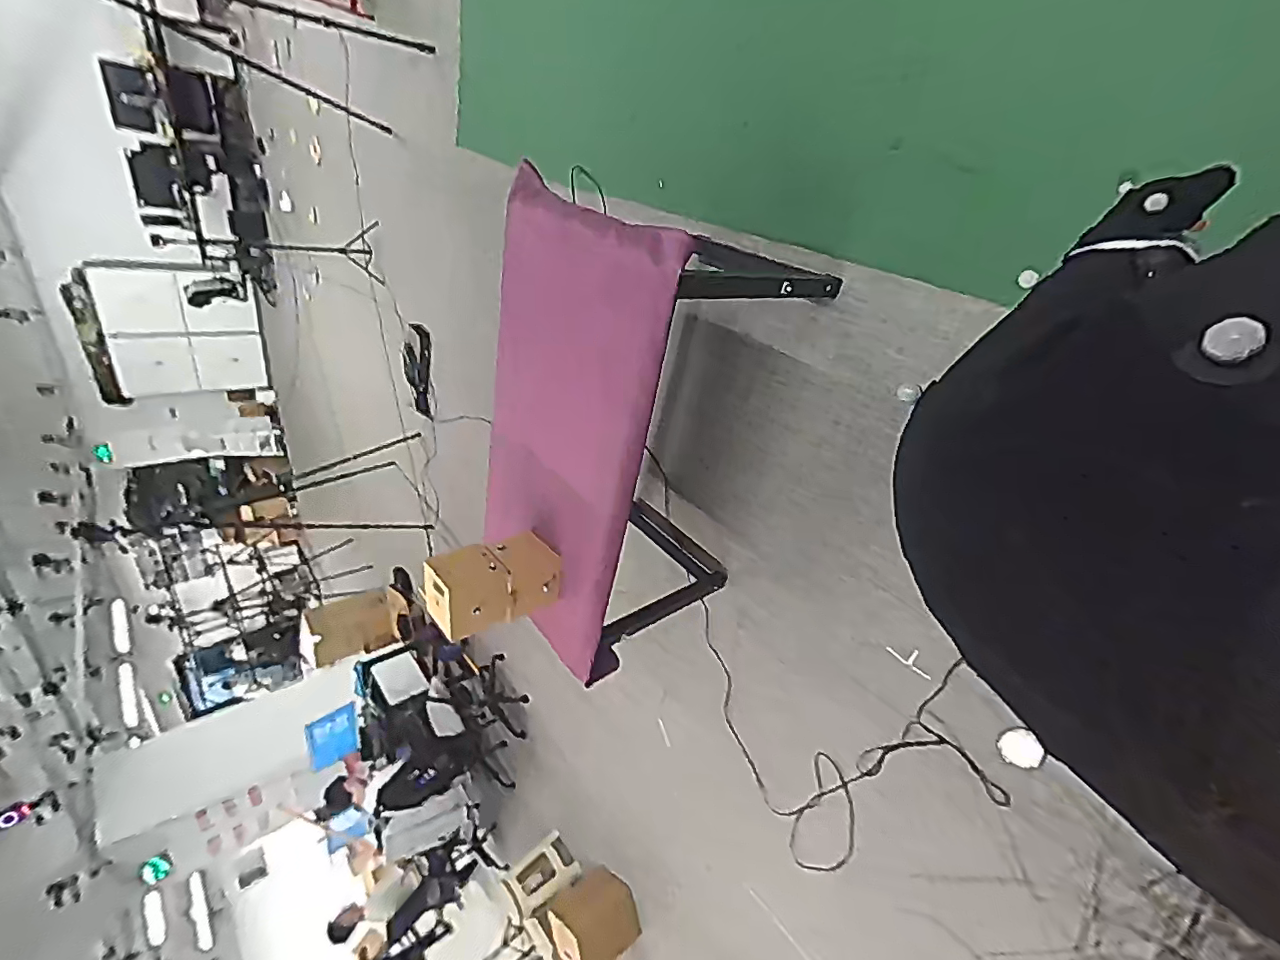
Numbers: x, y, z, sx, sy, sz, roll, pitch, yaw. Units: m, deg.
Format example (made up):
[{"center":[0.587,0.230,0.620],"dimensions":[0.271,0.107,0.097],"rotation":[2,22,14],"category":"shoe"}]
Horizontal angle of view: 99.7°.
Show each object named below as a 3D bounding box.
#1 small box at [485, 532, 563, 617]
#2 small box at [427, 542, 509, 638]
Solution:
[{"center":[-0.349,0.271,1.608],"dimensions":[0.179,0.176,0.168],"rotation":[32,125,40],"category":"small box"},{"center":[-0.476,0.296,1.502],"dimensions":[0.168,0.176,0.179],"rotation":[36,127,40],"category":"small box"}]
